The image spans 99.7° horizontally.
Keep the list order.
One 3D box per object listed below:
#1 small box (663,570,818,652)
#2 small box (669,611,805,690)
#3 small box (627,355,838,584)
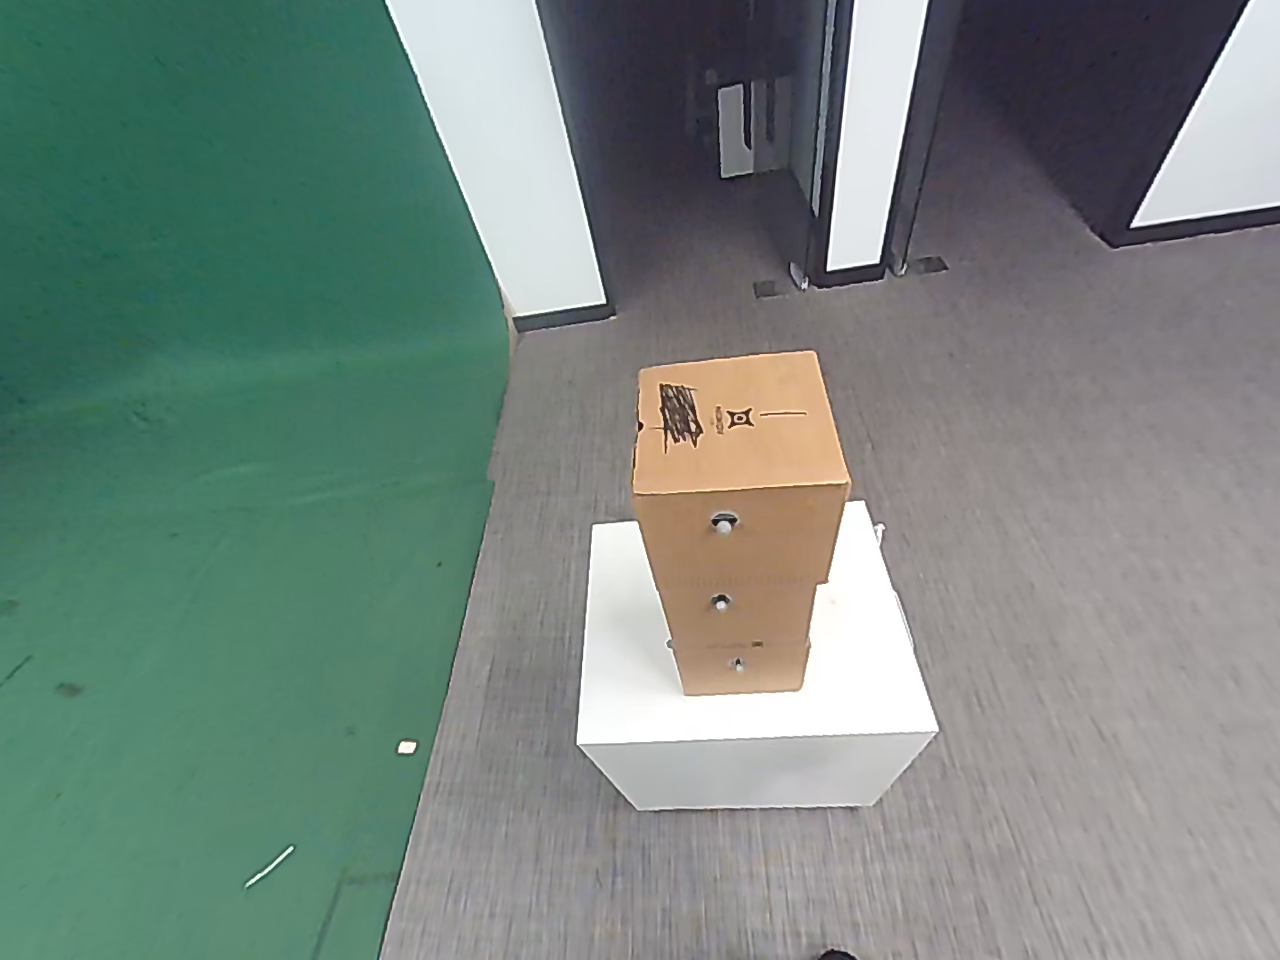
[{"bbox_3d":[0.116,0.098,0.684,0.168,0.176,0.179,-6,50,6],"label":"small box"},{"bbox_3d":[0.139,0.203,0.804,0.179,0.176,0.168,-5,50,7],"label":"small box"},{"bbox_3d":[0.092,-0.004,0.554,0.179,0.176,0.168,-3,50,8],"label":"small box"}]
